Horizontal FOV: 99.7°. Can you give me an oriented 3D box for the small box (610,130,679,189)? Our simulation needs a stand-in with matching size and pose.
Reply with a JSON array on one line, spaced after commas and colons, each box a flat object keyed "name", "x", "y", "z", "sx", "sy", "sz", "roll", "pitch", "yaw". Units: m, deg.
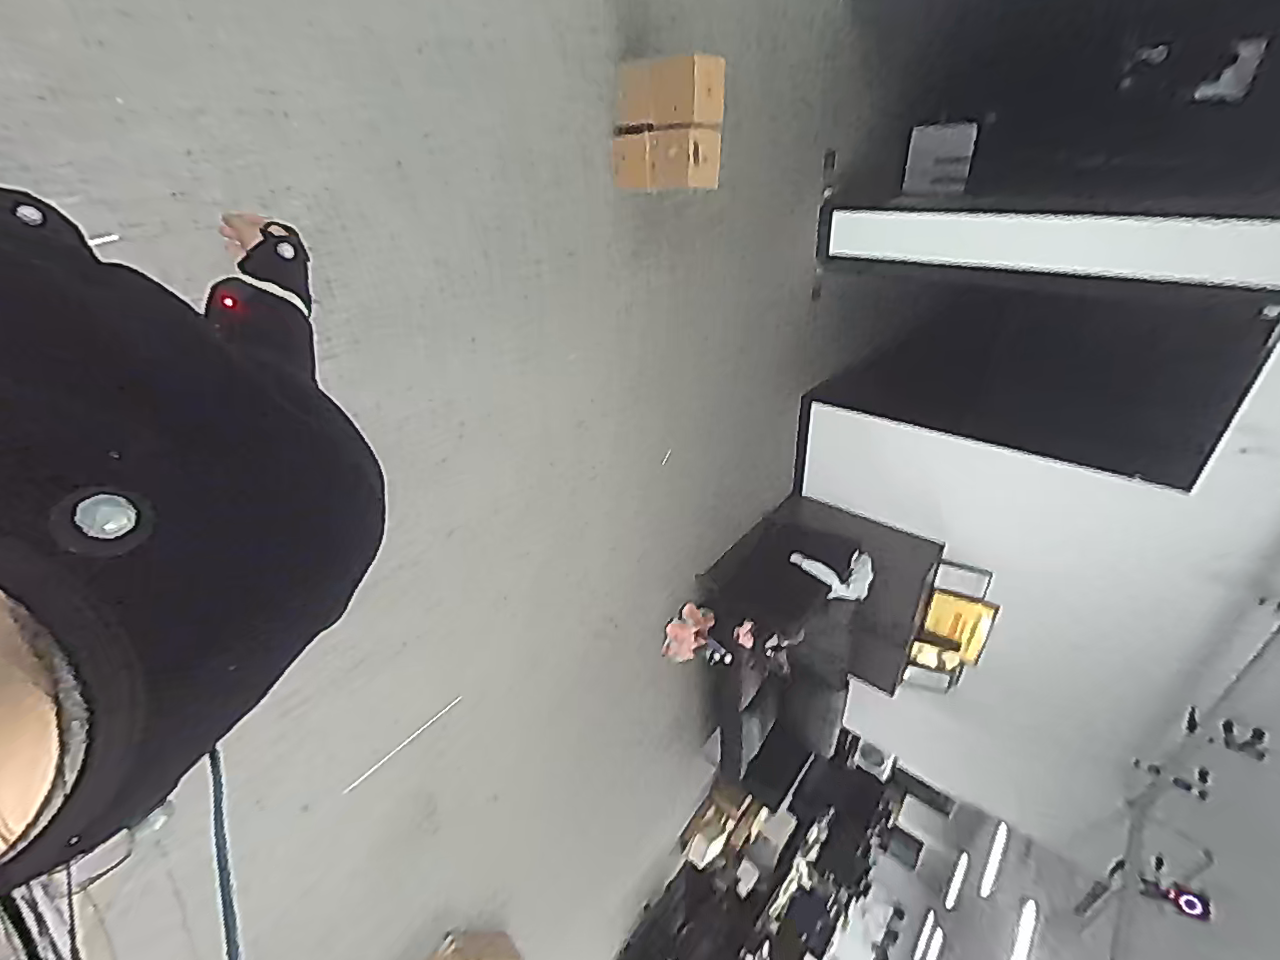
[{"name": "small box", "x": 0.018, "y": -1.127, "z": 1.898, "sx": 0.179, "sy": 0.176, "sz": 0.168, "roll": -34, "pitch": 132, "yaw": -36}]
